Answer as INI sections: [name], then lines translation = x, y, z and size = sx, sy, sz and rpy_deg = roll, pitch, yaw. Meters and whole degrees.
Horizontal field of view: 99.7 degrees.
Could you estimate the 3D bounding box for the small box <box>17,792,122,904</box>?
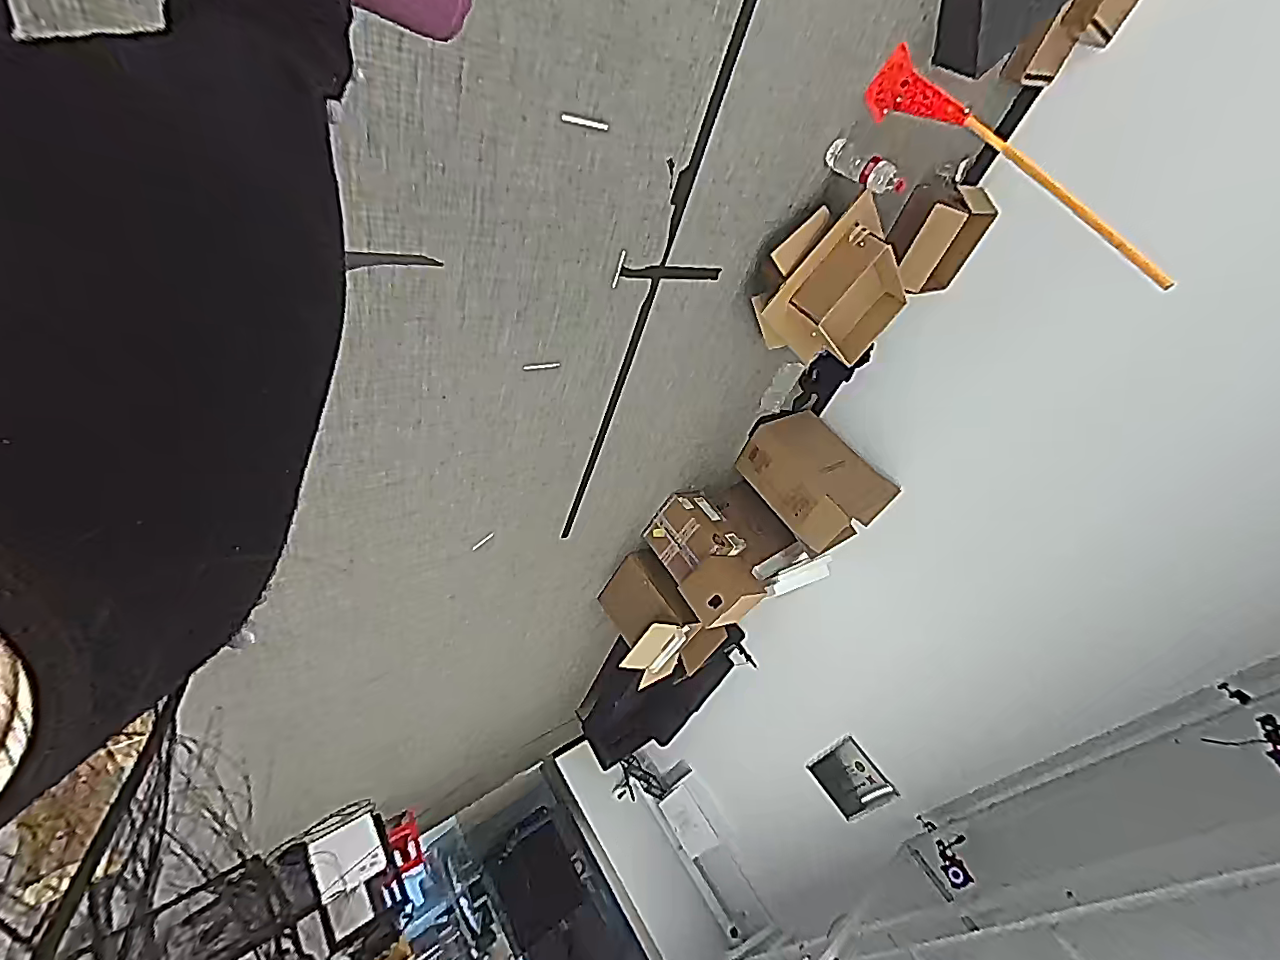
[small box]
translation = -1.534, 0.981, 1.456
size = 0.168, 0.176, 0.179
rpy_deg = -13, 142, -42
